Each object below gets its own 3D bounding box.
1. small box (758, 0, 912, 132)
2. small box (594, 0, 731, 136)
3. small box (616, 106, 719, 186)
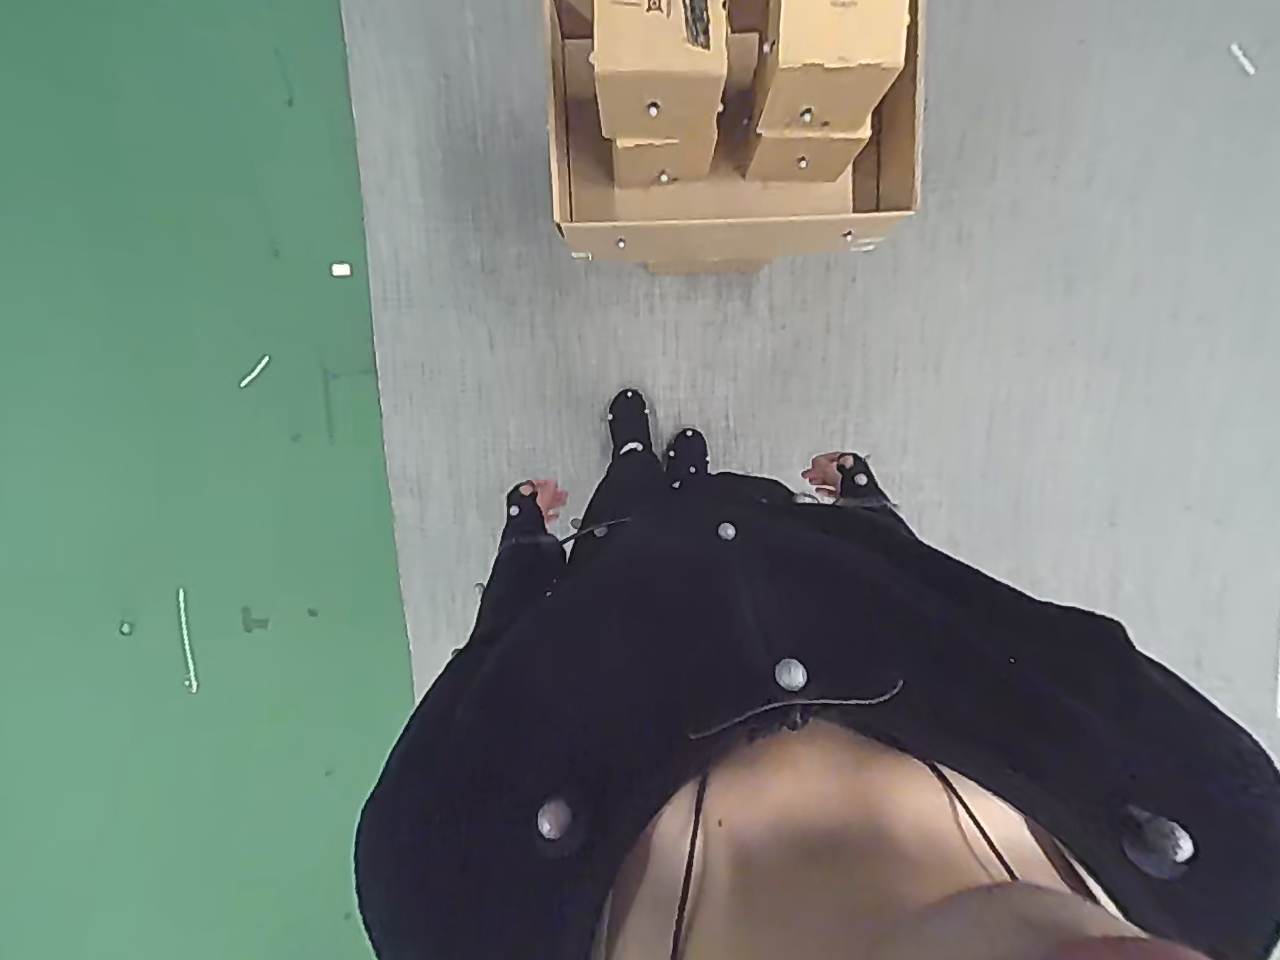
[{"bbox_3d":[0.267,-0.633,0.767,0.168,0.176,0.179,1,96,2],"label":"small box"},{"bbox_3d":[0.030,-0.619,0.770,0.179,0.176,0.168,1,96,1],"label":"small box"},{"bbox_3d":[0.038,-0.638,0.932,0.168,0.176,0.179,-5,97,1],"label":"small box"}]
